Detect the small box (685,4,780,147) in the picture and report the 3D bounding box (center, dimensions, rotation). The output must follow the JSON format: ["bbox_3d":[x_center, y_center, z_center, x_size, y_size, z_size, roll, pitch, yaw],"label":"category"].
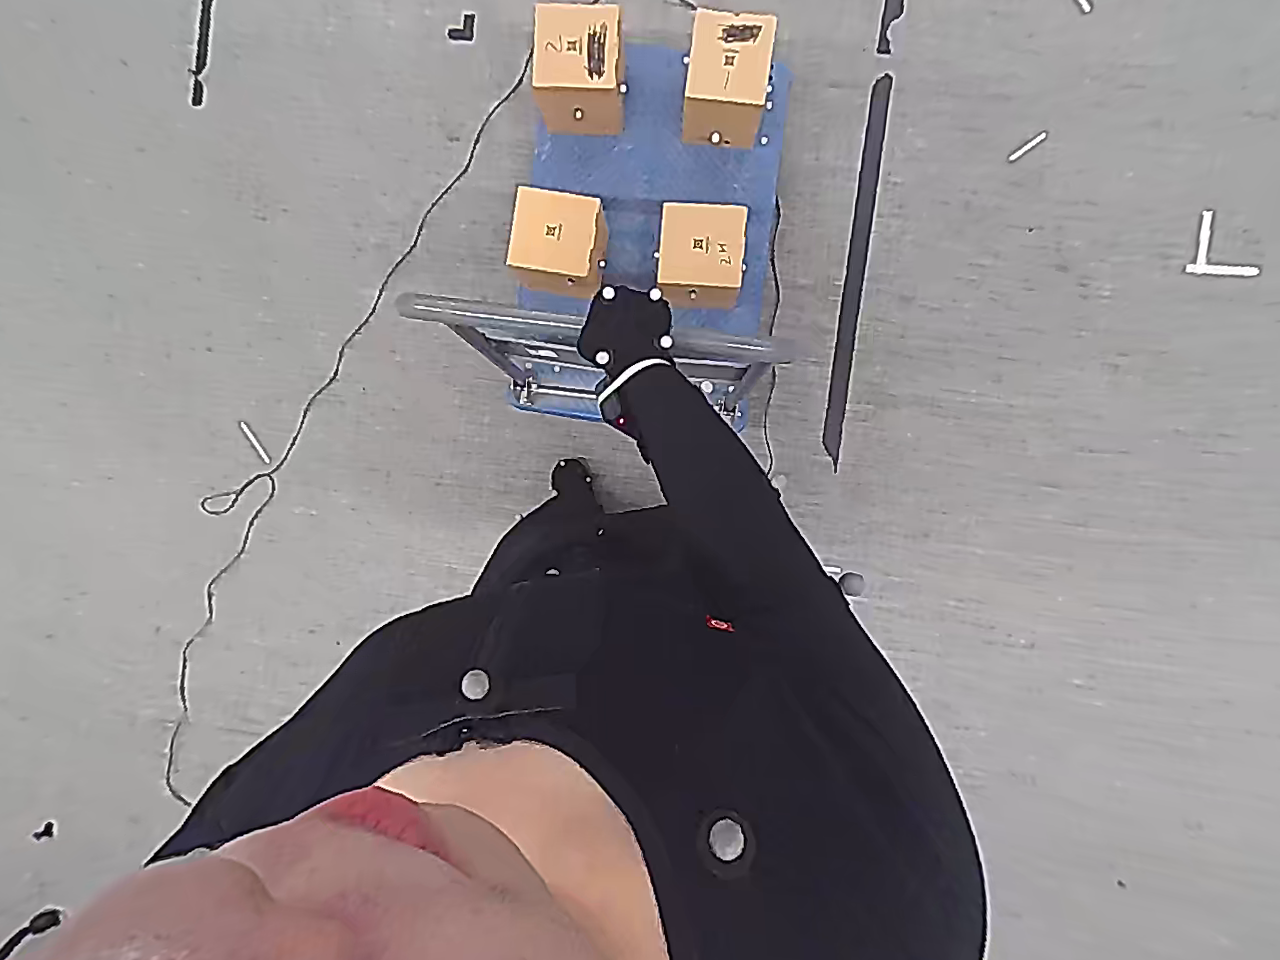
[{"bbox_3d":[0.190,-0.860,1.164,0.168,0.176,0.179,8,94,3],"label":"small box"}]

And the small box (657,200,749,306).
[{"bbox_3d":[0.134,-0.489,1.185,0.179,0.176,0.168,5,93,3],"label":"small box"}]

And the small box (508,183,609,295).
[{"bbox_3d":[-0.174,-0.525,1.199,0.179,0.176,0.168,10,93,1],"label":"small box"}]
